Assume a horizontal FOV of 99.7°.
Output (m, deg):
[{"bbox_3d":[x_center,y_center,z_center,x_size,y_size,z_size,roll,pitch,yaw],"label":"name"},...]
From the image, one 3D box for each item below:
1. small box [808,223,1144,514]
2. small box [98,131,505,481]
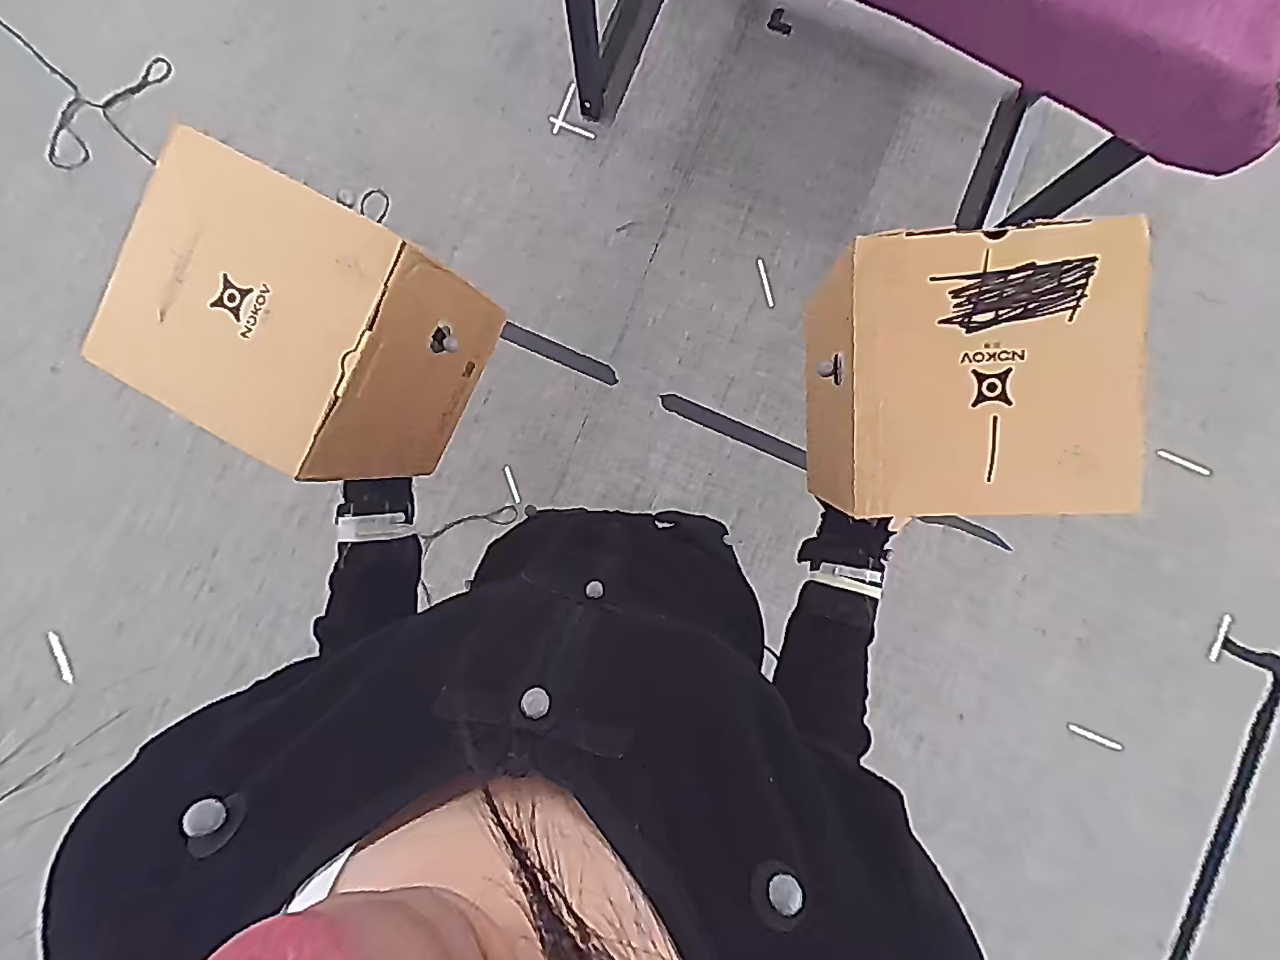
[{"bbox_3d":[0.226,-0.071,0.413,0.168,0.176,0.179,-1,95,7],"label":"small box"},{"bbox_3d":[-0.233,-0.113,0.419,0.179,0.176,0.168,28,94,6],"label":"small box"}]
